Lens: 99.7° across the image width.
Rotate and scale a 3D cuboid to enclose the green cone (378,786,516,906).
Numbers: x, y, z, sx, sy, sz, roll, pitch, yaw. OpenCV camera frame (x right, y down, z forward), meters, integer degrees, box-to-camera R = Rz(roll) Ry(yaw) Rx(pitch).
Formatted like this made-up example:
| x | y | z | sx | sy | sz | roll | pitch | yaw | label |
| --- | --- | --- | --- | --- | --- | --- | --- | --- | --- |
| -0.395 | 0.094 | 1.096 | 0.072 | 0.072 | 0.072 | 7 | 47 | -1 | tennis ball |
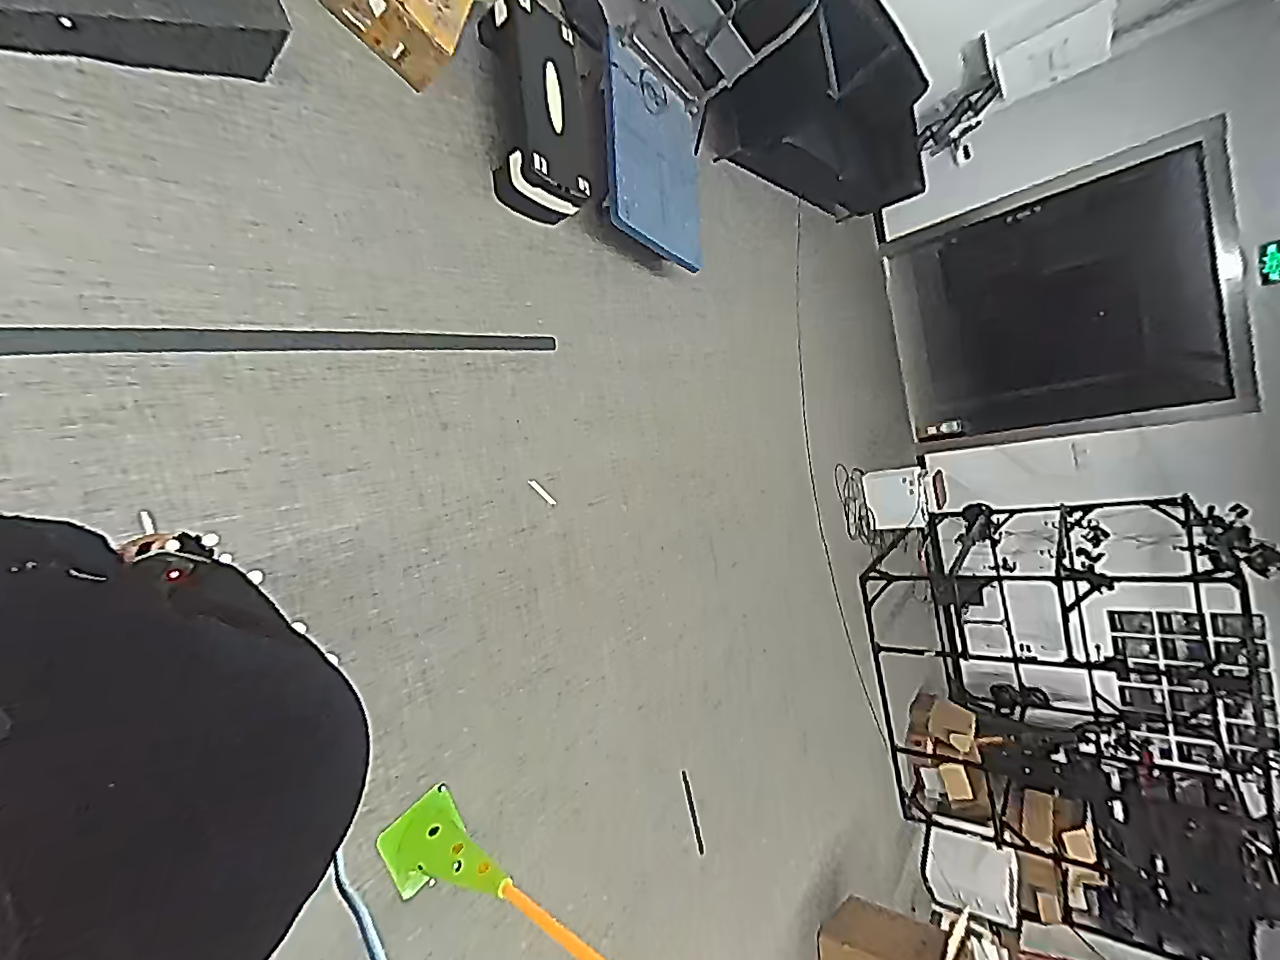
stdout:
| x | y | z | sx | sy | sz | roll | pitch | yaw | label |
| --- | --- | --- | --- | --- | --- | --- | --- | --- | --- |
| -0.429 | 0.925 | 1.295 | 0.200 | 0.368 | 0.202 | -32 | 110 | -48 | green cone |
